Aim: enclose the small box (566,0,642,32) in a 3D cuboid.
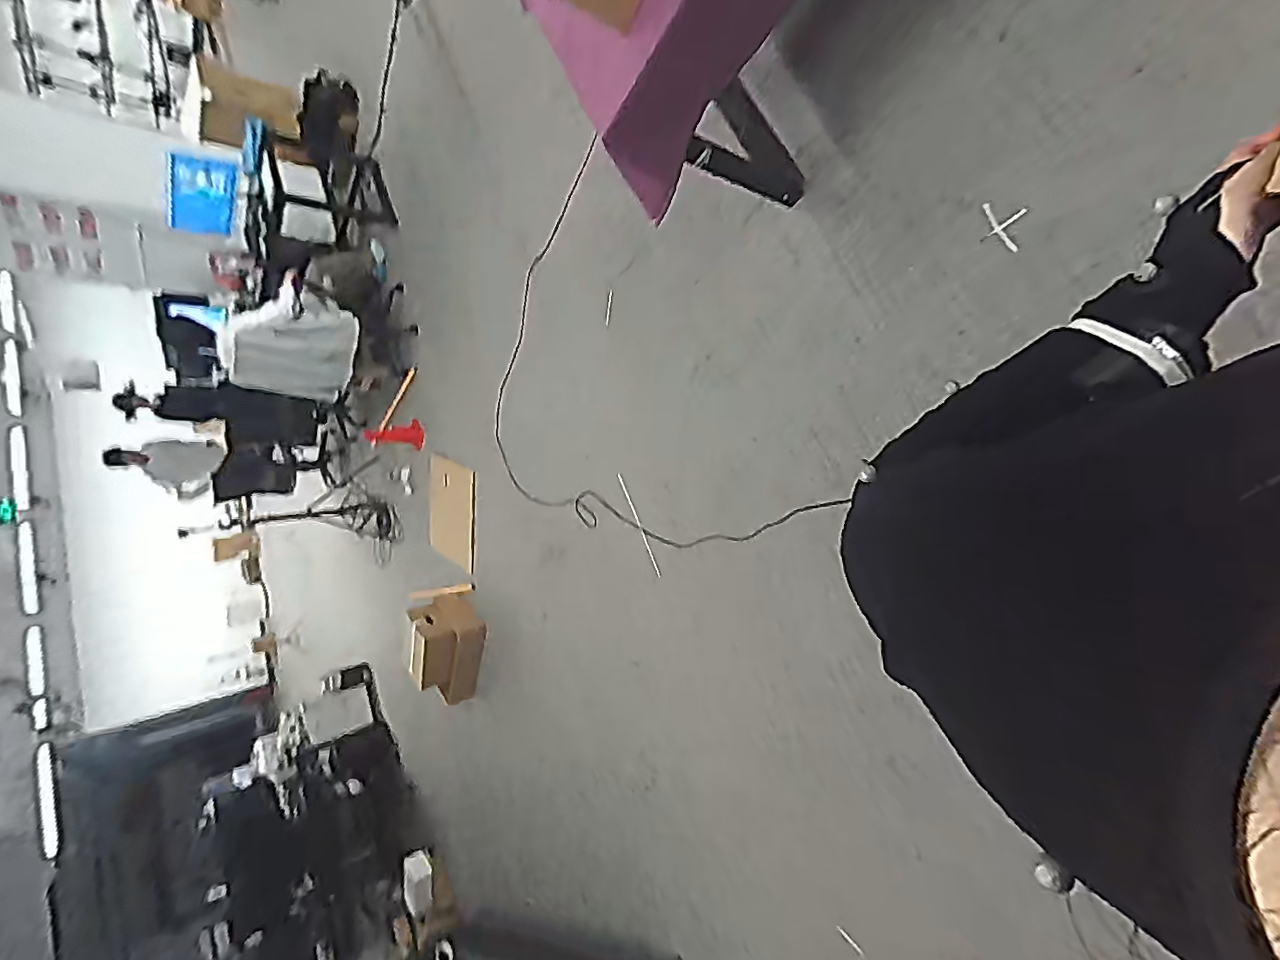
[{"bbox_3d":[-0.073,-0.985,0.985,0.179,0.176,0.168,-43,65,43],"label":"small box"}]
